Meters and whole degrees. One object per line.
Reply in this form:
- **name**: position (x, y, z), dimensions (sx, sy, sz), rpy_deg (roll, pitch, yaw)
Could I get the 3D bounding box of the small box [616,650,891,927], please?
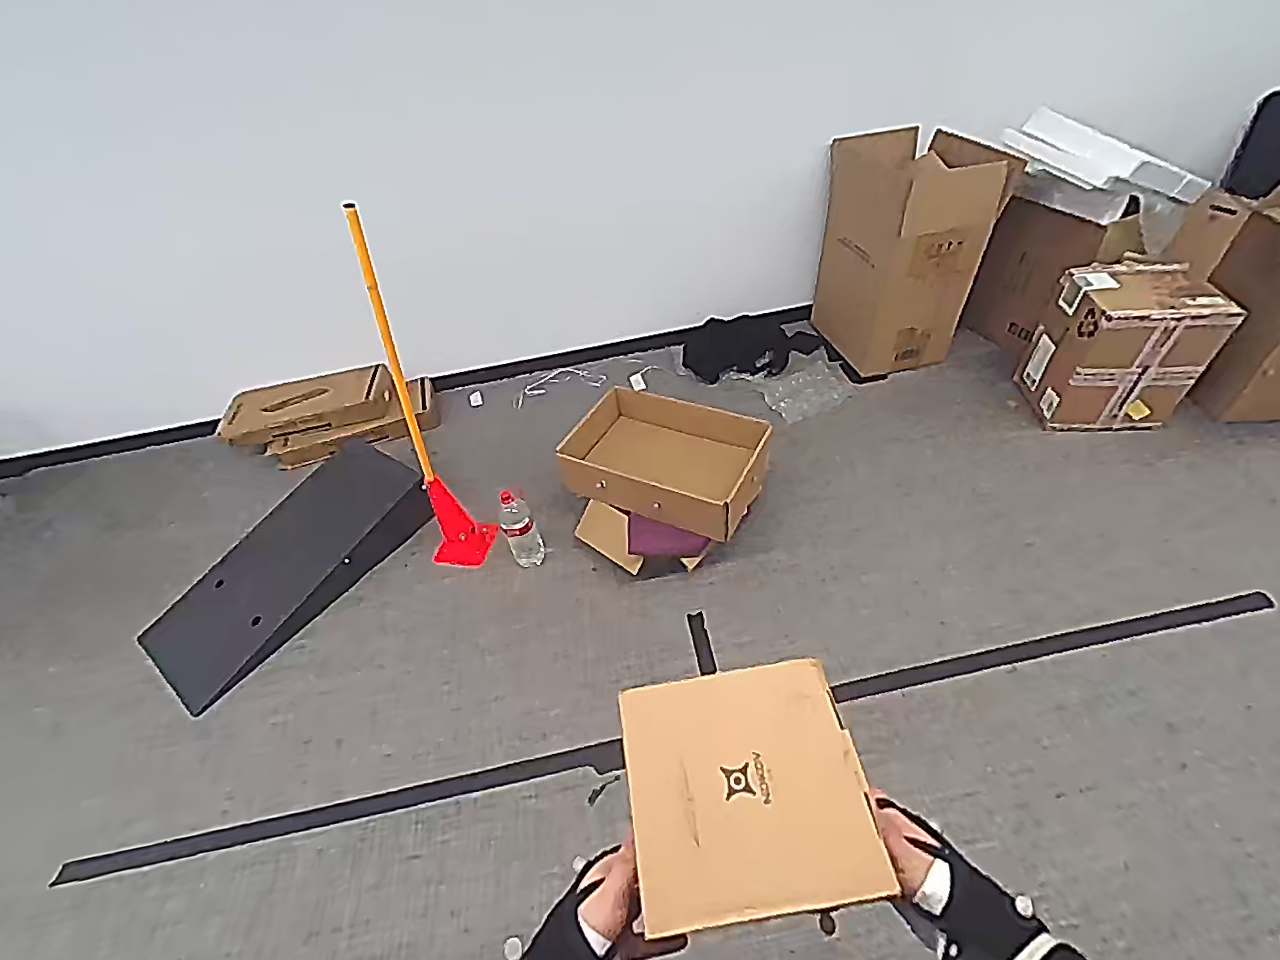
- **small box**: position (0.085, 0.272, 0.475), dimensions (0.179, 0.176, 0.168), rpy_deg (-12, 49, 1)
